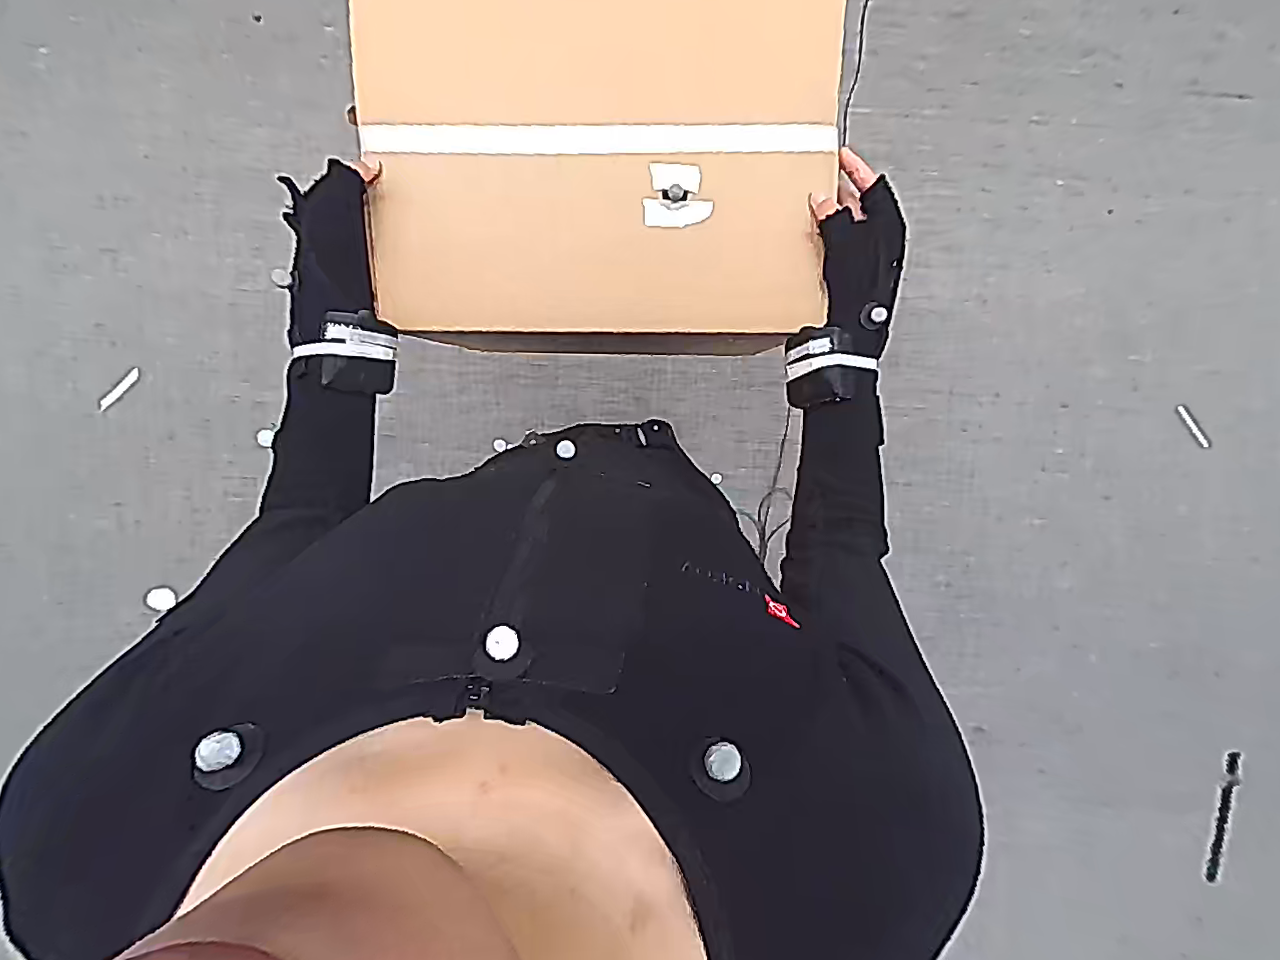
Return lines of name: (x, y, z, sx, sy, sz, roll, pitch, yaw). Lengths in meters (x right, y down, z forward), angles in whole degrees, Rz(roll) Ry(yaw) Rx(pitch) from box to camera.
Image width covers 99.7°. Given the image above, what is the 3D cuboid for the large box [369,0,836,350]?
large box: (-0.033, -0.321, 0.623, 0.408, 0.320, 0.320, 0, 101, 0)
